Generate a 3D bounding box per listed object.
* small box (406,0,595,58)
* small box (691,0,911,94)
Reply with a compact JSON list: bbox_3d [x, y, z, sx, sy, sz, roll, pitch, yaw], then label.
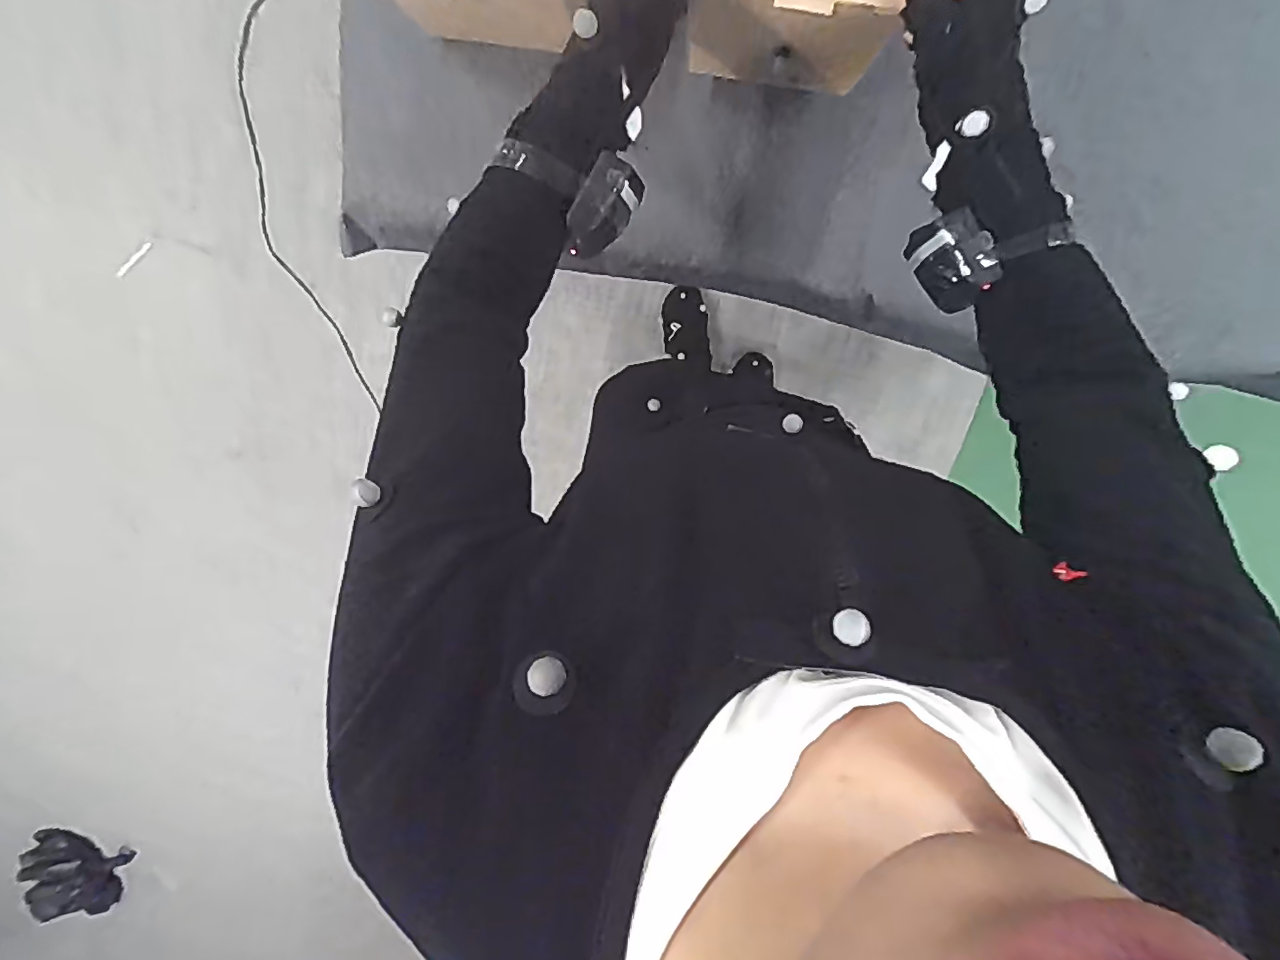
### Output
[{"bbox_3d":[-0.136,-0.521,0.493,0.179,0.176,0.168,8,109,2],"label":"small box"},{"bbox_3d":[0.139,-0.458,0.455,0.168,0.176,0.179,9,109,1],"label":"small box"}]
